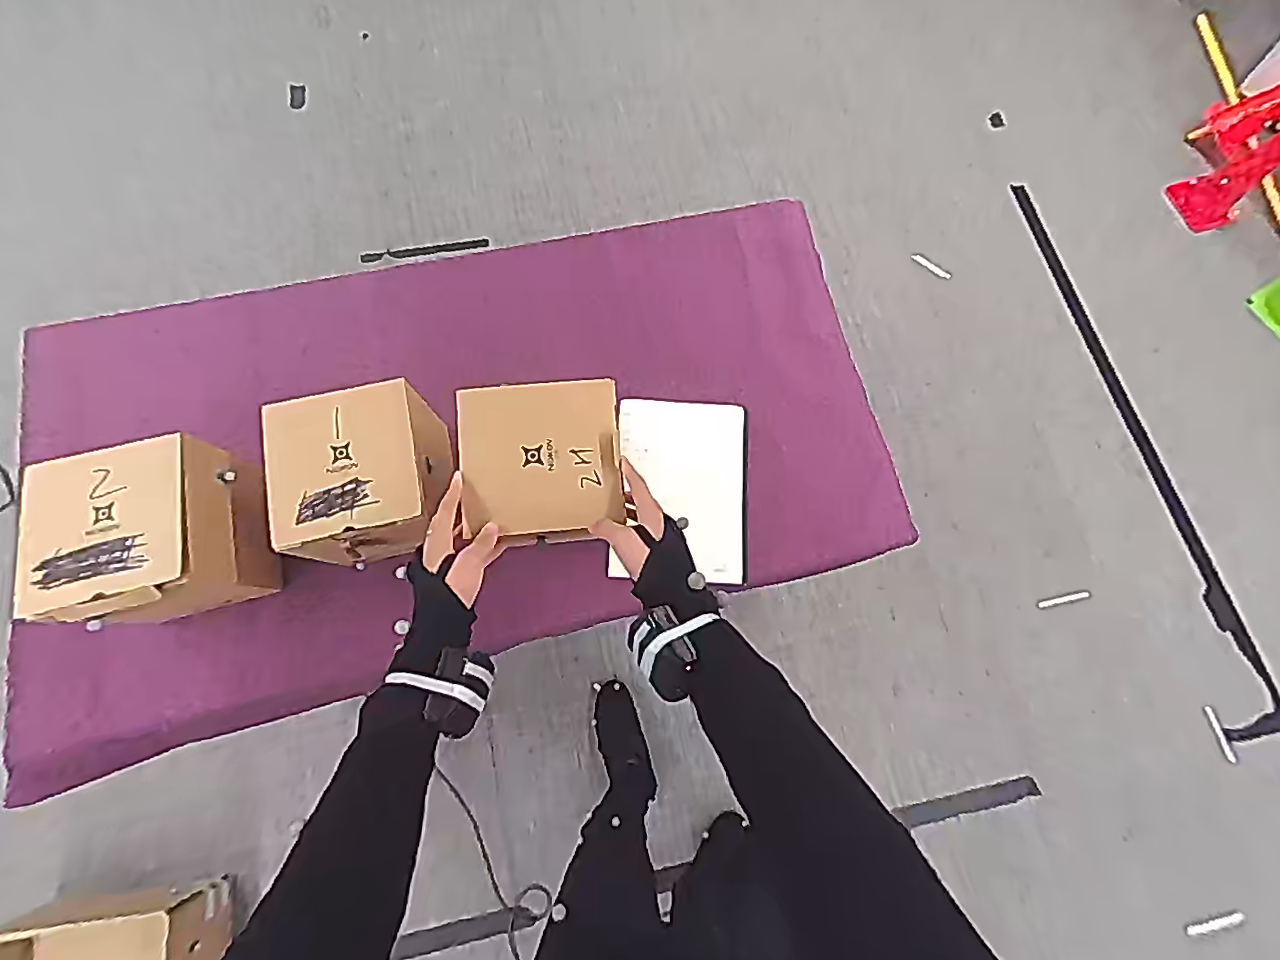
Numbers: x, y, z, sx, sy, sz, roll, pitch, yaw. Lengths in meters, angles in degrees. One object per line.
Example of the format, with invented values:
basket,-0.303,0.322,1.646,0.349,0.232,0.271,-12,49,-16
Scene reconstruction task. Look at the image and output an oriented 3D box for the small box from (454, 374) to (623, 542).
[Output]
small box,-0.114,-0.017,0.659,0.179,0.176,0.168,-5,80,-5
